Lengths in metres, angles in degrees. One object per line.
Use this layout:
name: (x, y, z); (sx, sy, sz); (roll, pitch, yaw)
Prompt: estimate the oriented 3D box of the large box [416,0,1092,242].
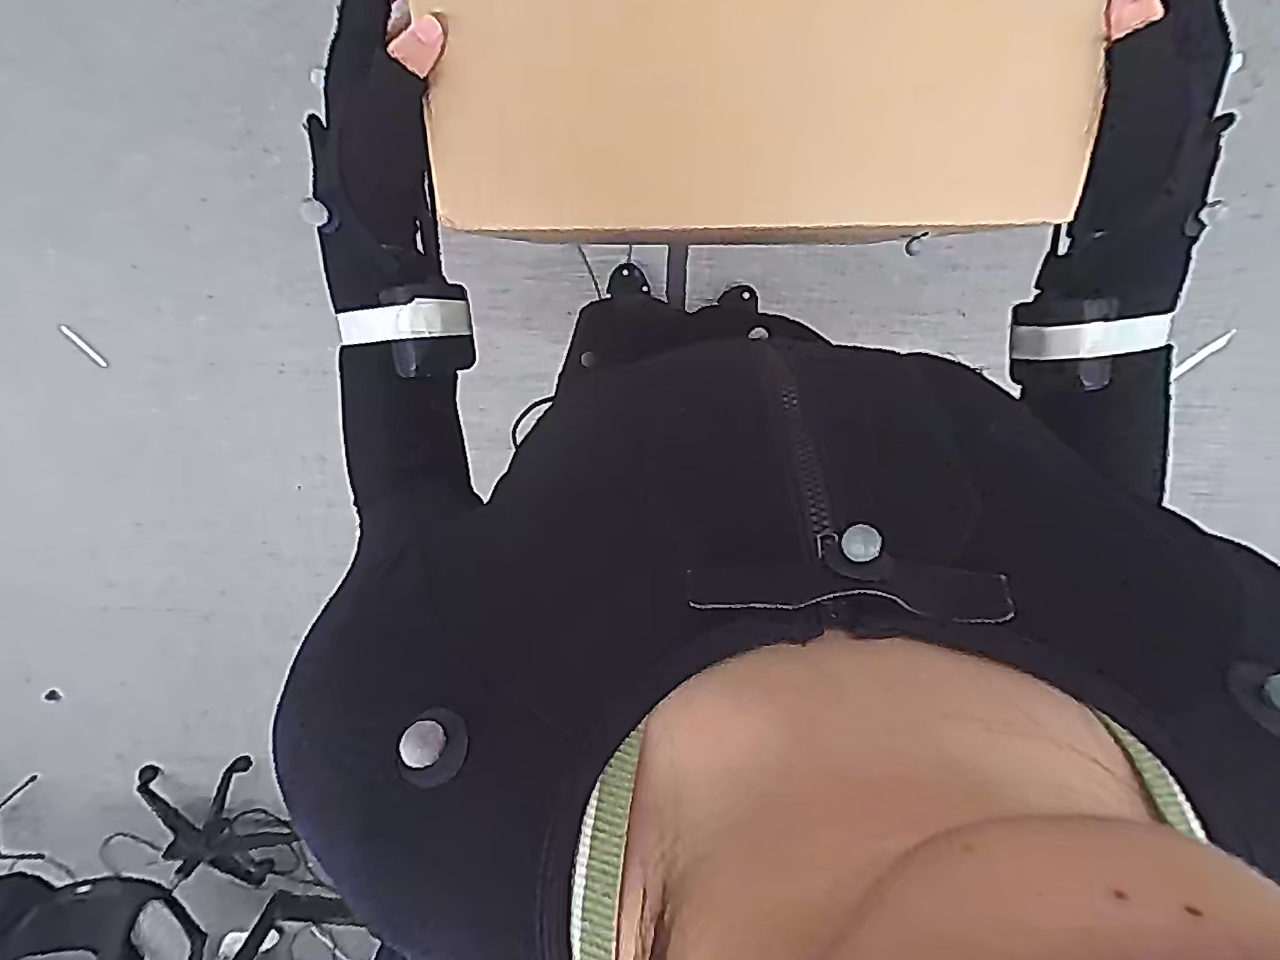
large box: (0.067, -0.368, 0.440); (0.408, 0.320, 0.320); (-1, 111, 0)
